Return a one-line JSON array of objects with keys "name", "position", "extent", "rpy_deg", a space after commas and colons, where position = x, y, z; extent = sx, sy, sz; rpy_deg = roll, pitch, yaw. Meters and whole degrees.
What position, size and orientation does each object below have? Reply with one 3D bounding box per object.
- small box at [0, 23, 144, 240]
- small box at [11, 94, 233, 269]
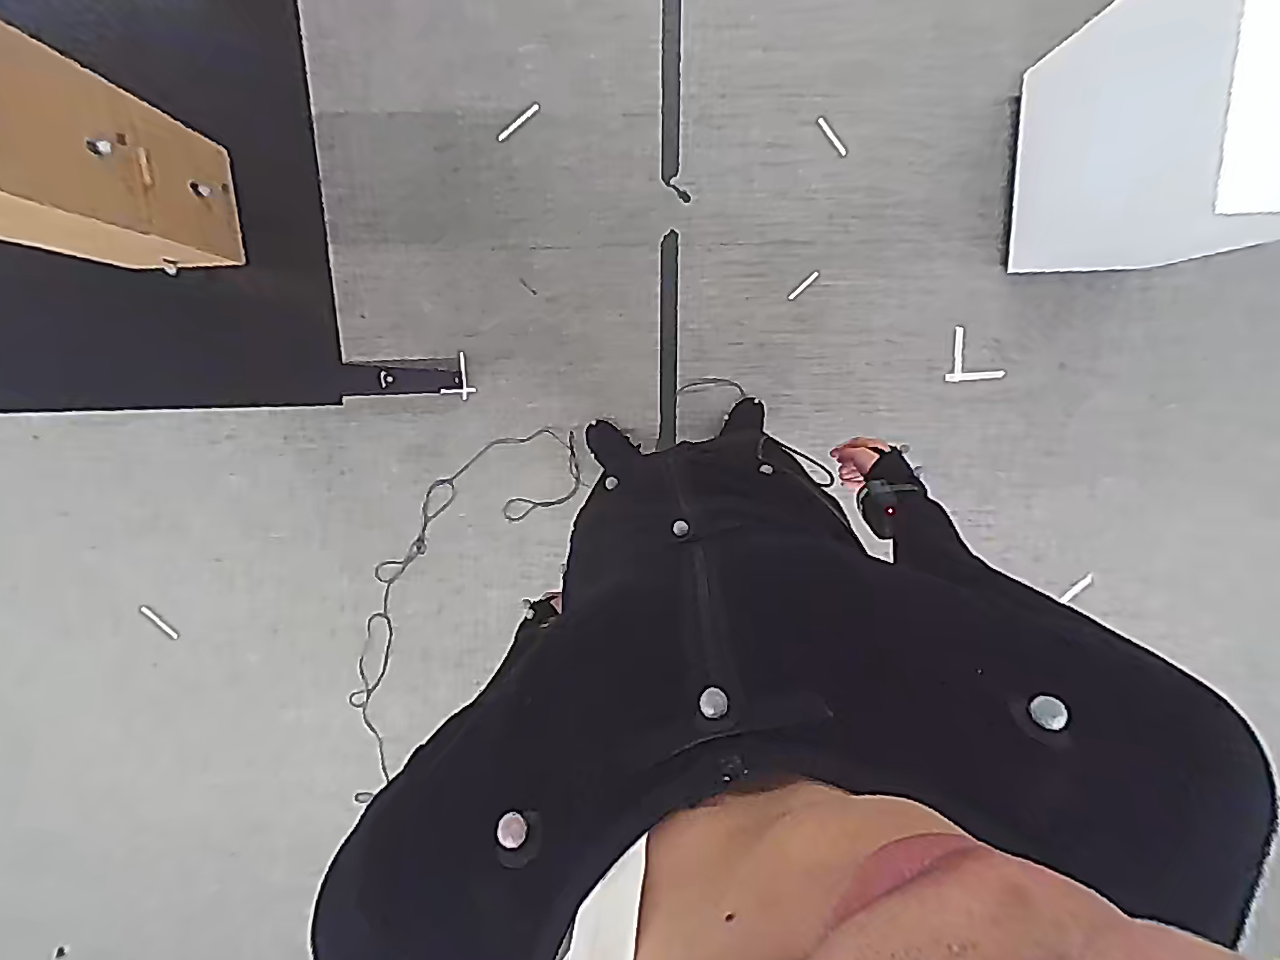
[{"name": "small box", "position": [-0.693, -0.361, 0.570], "extent": [0.179, 0.176, 0.168], "rpy_deg": [-3, 101, -1]}, {"name": "small box", "position": [-0.694, -0.390, 0.733], "extent": [0.179, 0.176, 0.168], "rpy_deg": [-3, 100, -1]}]
